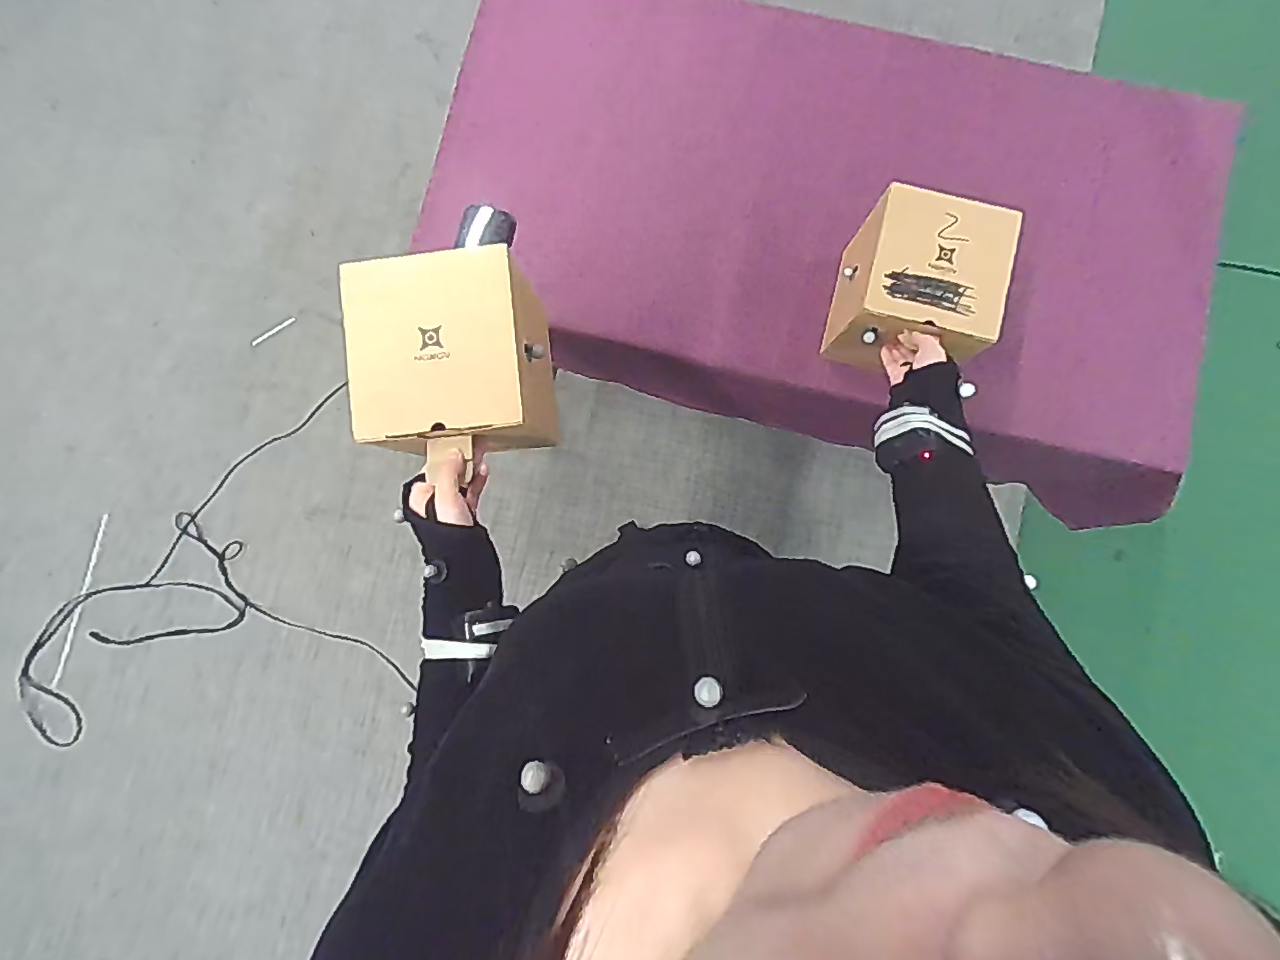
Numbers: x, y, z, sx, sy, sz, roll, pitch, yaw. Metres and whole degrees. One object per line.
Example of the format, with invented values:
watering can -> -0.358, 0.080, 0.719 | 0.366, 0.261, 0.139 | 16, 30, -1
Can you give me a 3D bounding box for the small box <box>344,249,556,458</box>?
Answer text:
small box -> -0.192, -0.124, 0.590 | 0.168, 0.176, 0.179 | -6, 88, 2
